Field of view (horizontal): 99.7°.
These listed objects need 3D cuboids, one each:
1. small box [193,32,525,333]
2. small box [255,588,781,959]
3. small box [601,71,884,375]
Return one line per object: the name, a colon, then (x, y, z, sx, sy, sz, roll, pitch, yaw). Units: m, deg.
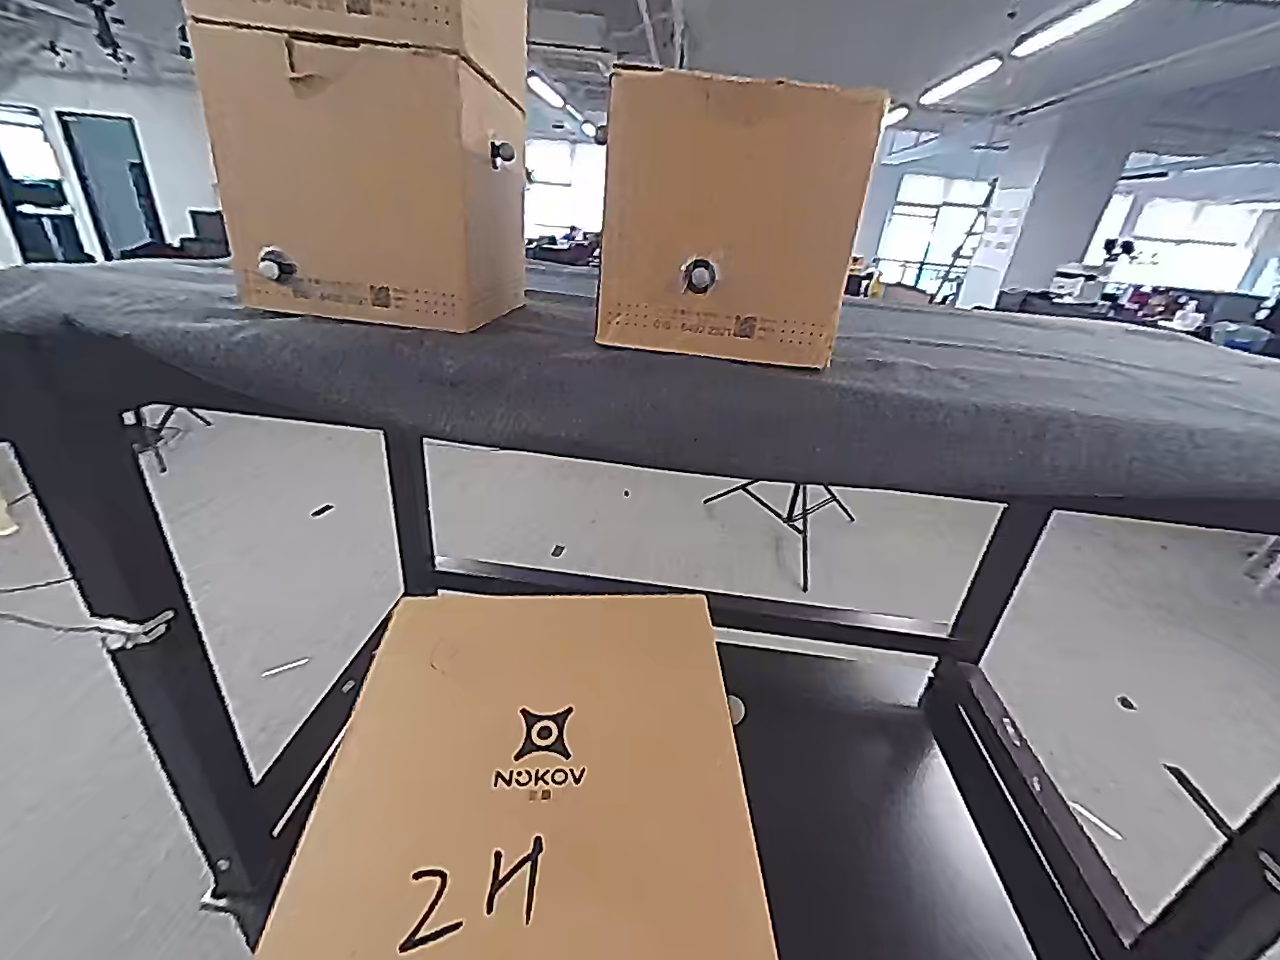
small box: (-0.192, -0.219, 0.433, 0.168, 0.176, 0.179, 7, 24, 0)
small box: (-0.043, 0.175, 0.269, 0.168, 0.176, 0.179, 0, 37, -3)
small box: (0.063, -0.191, 0.429, 0.168, 0.176, 0.179, 6, 24, 2)
